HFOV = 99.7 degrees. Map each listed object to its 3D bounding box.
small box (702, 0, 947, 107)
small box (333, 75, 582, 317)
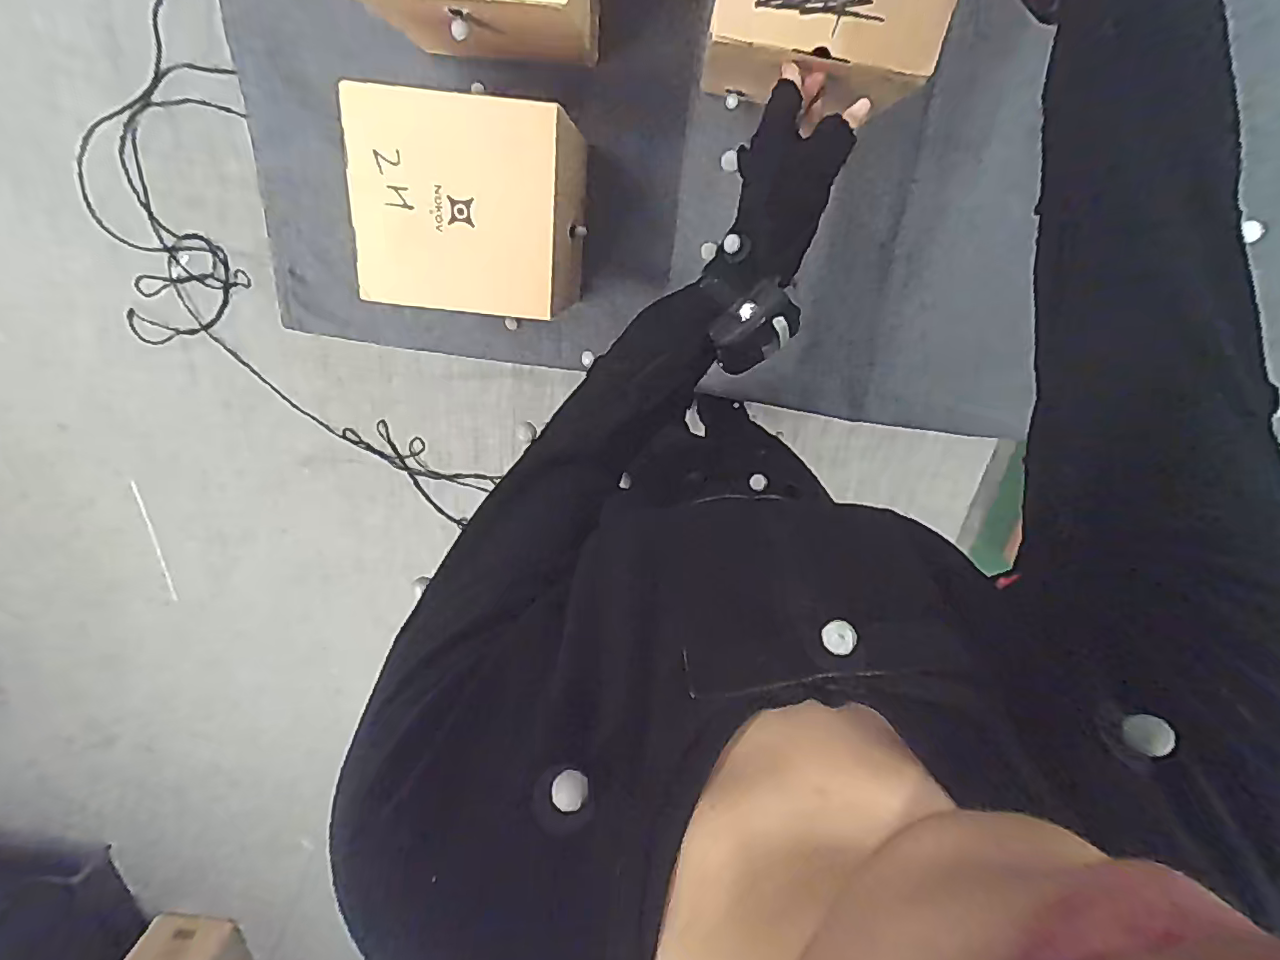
[{"bbox_3d":[0.147,-0.419,0.424,0.168,0.176,0.179,11,115,-1],"label":"small box"},{"bbox_3d":[-0.154,-0.260,0.519,0.179,0.176,0.168,6,114,1],"label":"small box"}]
